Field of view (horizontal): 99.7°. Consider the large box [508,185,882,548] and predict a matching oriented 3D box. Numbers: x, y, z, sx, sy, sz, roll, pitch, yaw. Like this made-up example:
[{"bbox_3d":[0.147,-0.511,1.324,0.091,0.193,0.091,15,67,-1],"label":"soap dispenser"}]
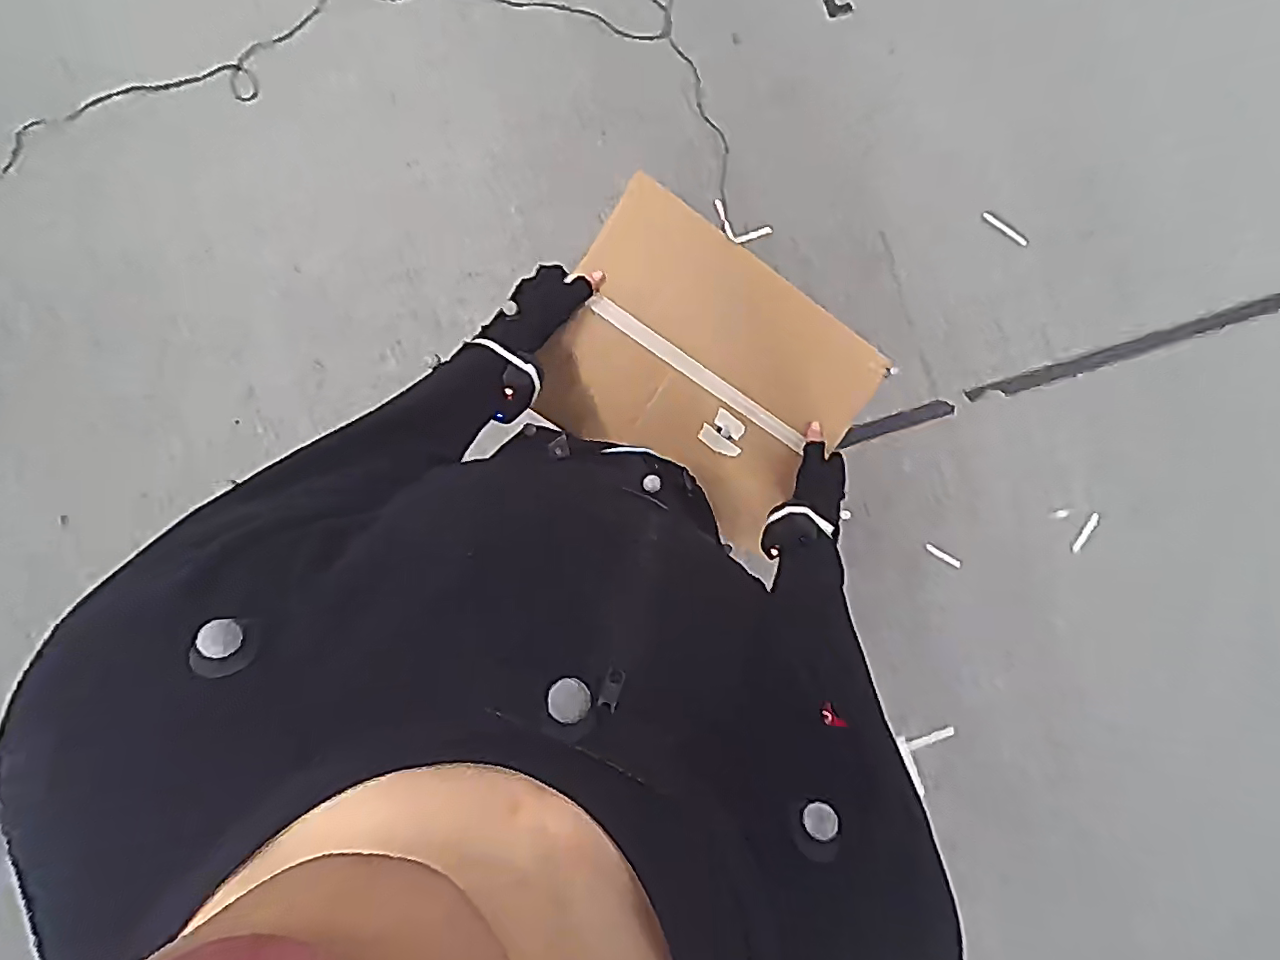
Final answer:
[{"bbox_3d":[0.062,-0.156,0.846,0.408,0.320,0.320,33,96,-9],"label":"large box"}]
